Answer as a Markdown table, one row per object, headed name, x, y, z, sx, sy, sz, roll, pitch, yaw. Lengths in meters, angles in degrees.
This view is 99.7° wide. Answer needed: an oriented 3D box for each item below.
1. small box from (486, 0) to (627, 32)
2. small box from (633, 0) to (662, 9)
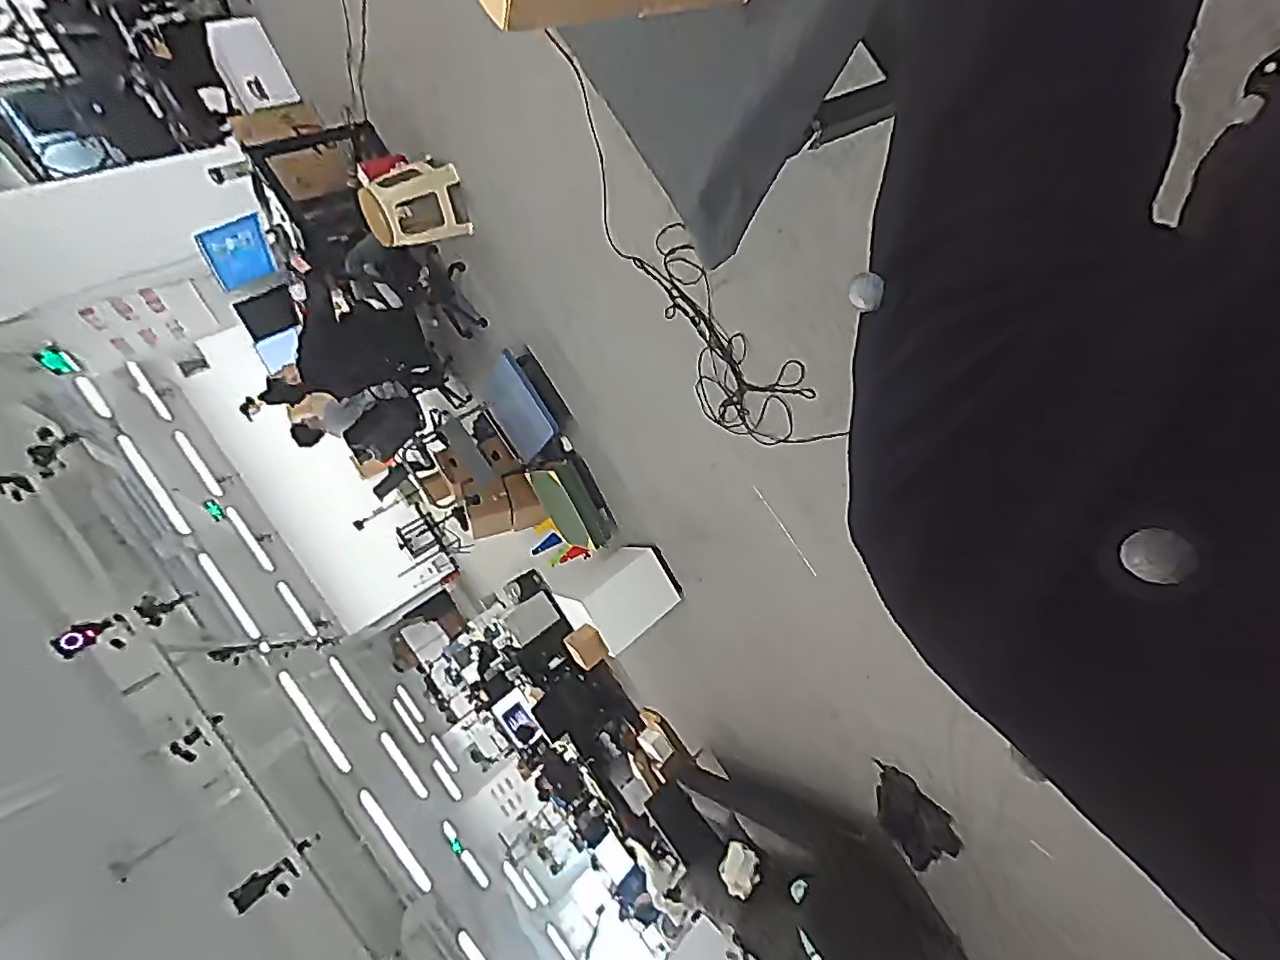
| name | x | y | z | sx | sy | sz | roll | pitch | yaw |
| --- | --- | --- | --- | --- | --- | --- | --- | --- | --- |
| small box | -0.073 | -0.519 | 0.433 | 0.179 | 0.176 | 0.168 | 53 | 153 | 3 |
| small box | 0.045 | -0.601 | 0.511 | 0.179 | 0.176 | 0.168 | 55 | 153 | 3 |
